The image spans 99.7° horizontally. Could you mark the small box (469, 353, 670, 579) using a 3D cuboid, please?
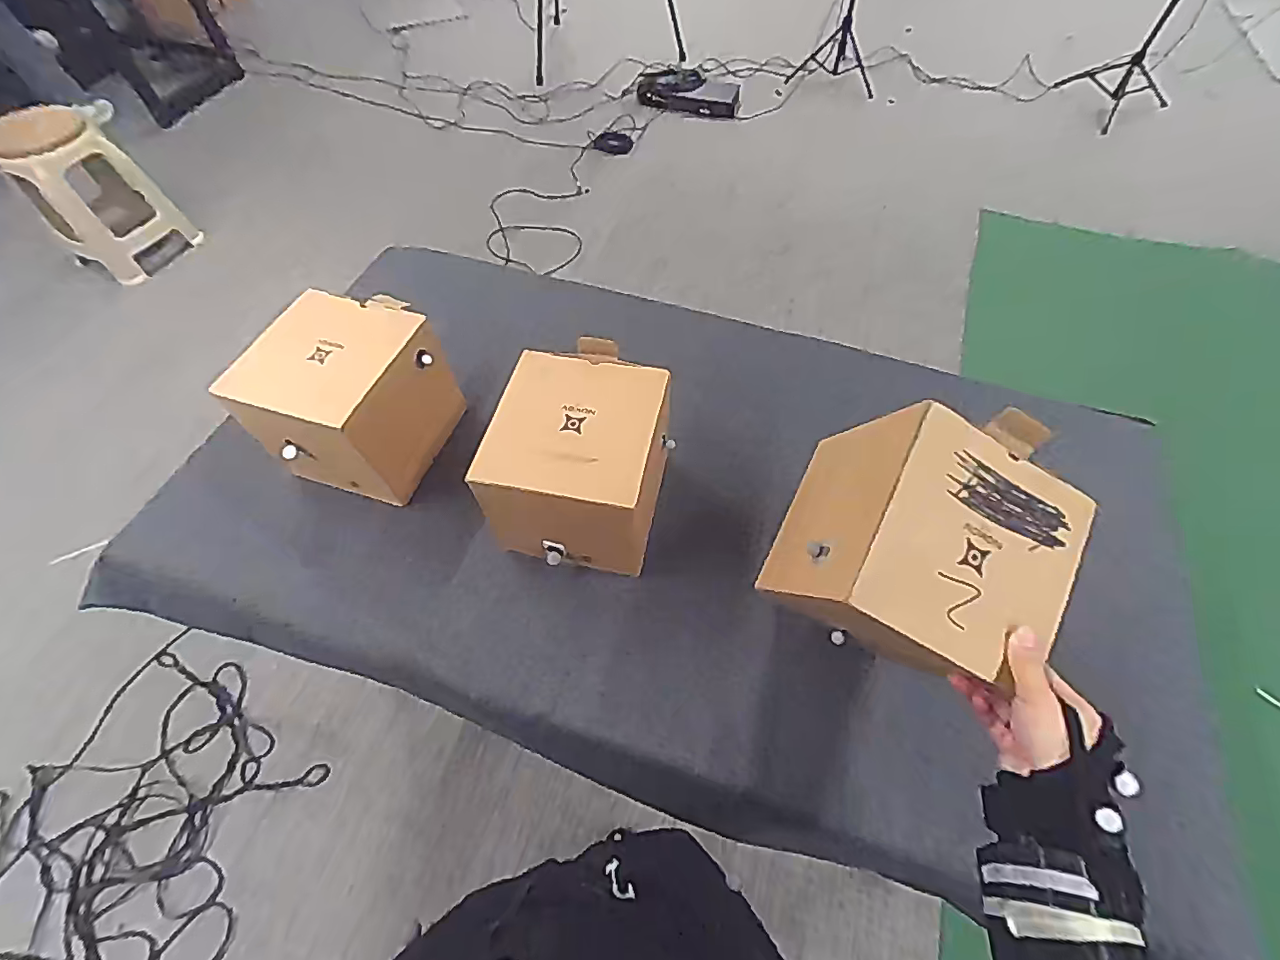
[{"bbox_3d":[-0.063,-0.012,0.604,0.168,0.176,0.179,9,58,8],"label":"small box"}]

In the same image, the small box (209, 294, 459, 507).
[{"bbox_3d":[-0.347,-0.091,0.658,0.168,0.176,0.179,14,58,10],"label":"small box"}]
